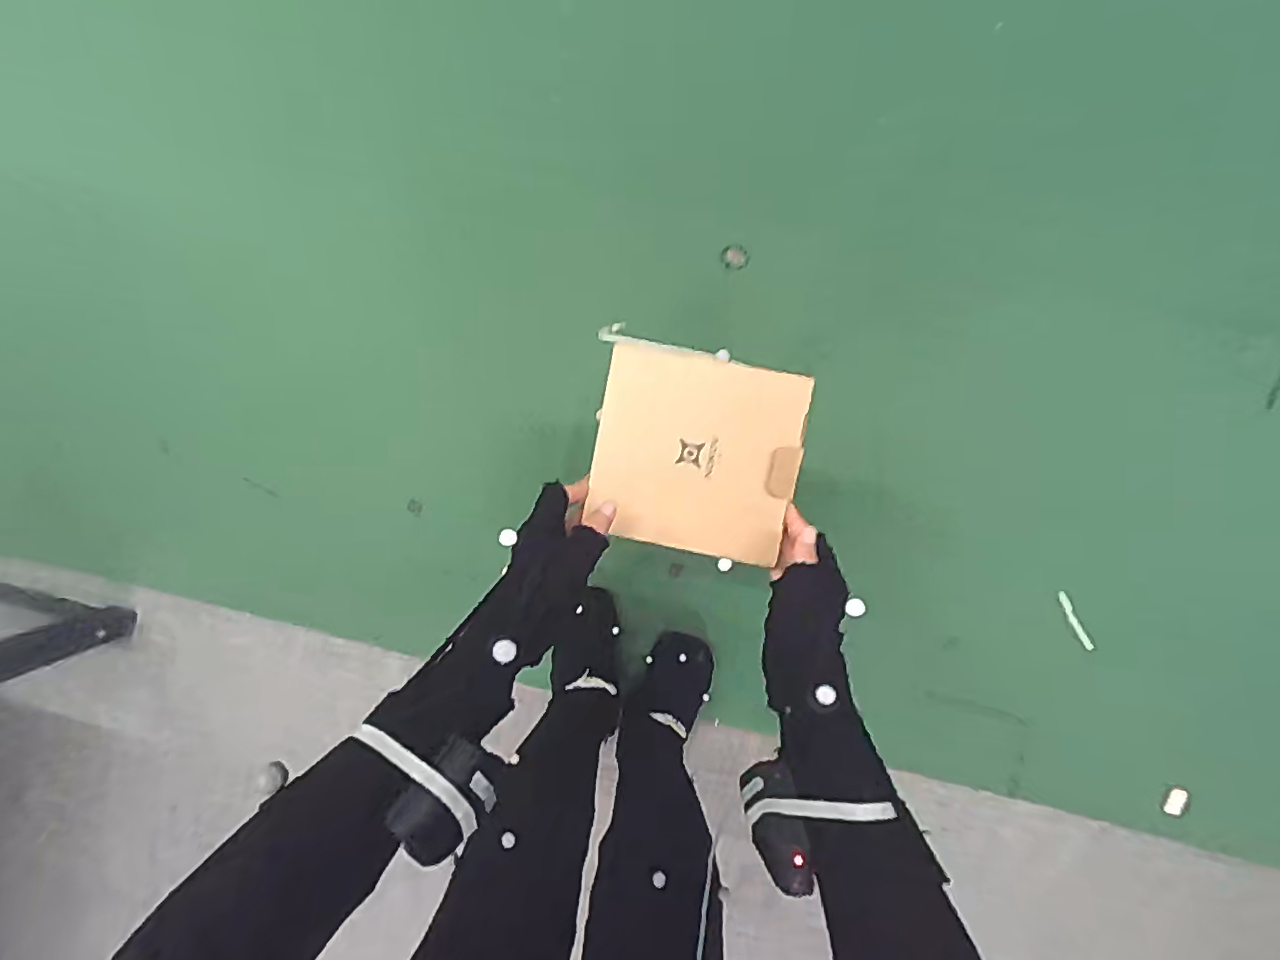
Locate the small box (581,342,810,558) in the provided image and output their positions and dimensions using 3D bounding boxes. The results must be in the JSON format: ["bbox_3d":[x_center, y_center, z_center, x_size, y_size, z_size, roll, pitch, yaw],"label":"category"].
[{"bbox_3d":[0.051,-0.028,0.551,0.179,0.176,0.168,11,92,3],"label":"small box"}]
